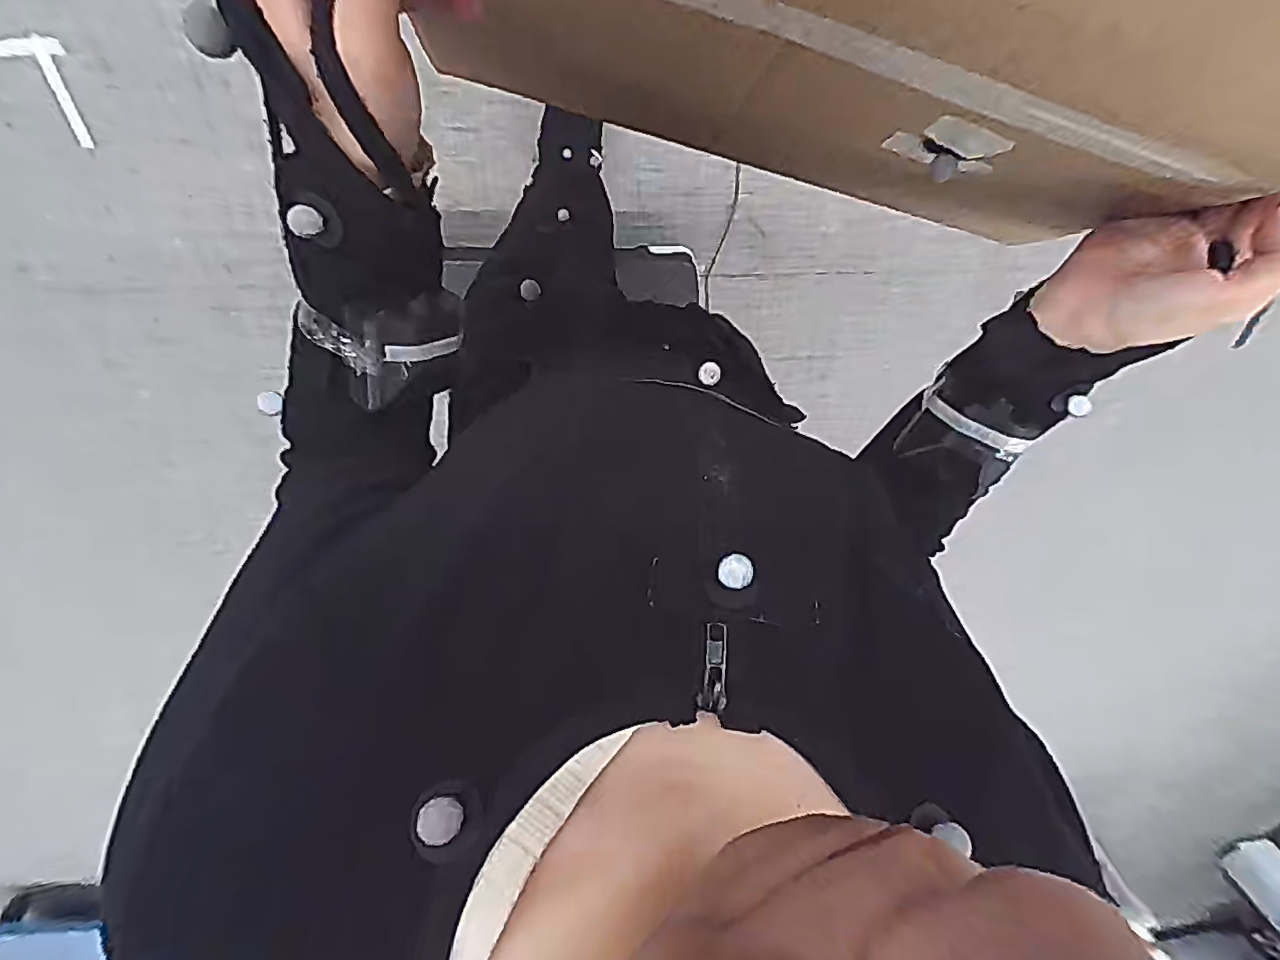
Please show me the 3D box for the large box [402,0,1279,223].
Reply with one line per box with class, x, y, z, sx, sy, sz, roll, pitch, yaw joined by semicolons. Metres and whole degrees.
large box;0.118;-0.323;0.175;0.408;0.320;0.320;9;104;-11
